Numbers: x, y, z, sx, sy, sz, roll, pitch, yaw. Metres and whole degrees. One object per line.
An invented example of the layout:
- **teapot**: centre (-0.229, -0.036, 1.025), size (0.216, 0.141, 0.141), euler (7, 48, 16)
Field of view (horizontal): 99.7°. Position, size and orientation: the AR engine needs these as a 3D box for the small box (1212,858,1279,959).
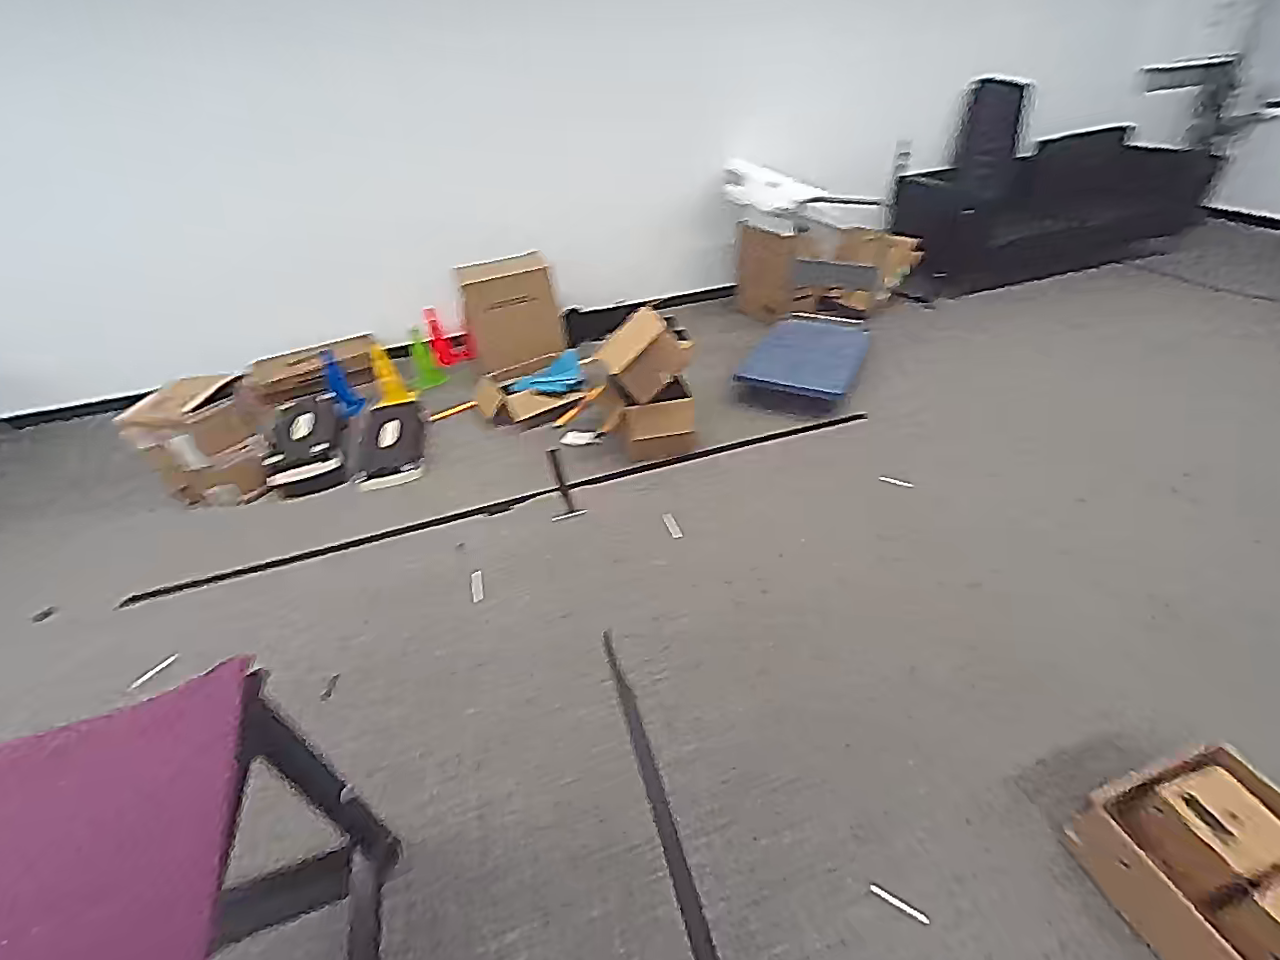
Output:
- **small box**: centre (1.270, 0.856, 1.035), size (0.179, 0.176, 0.168), euler (-18, 40, -16)
